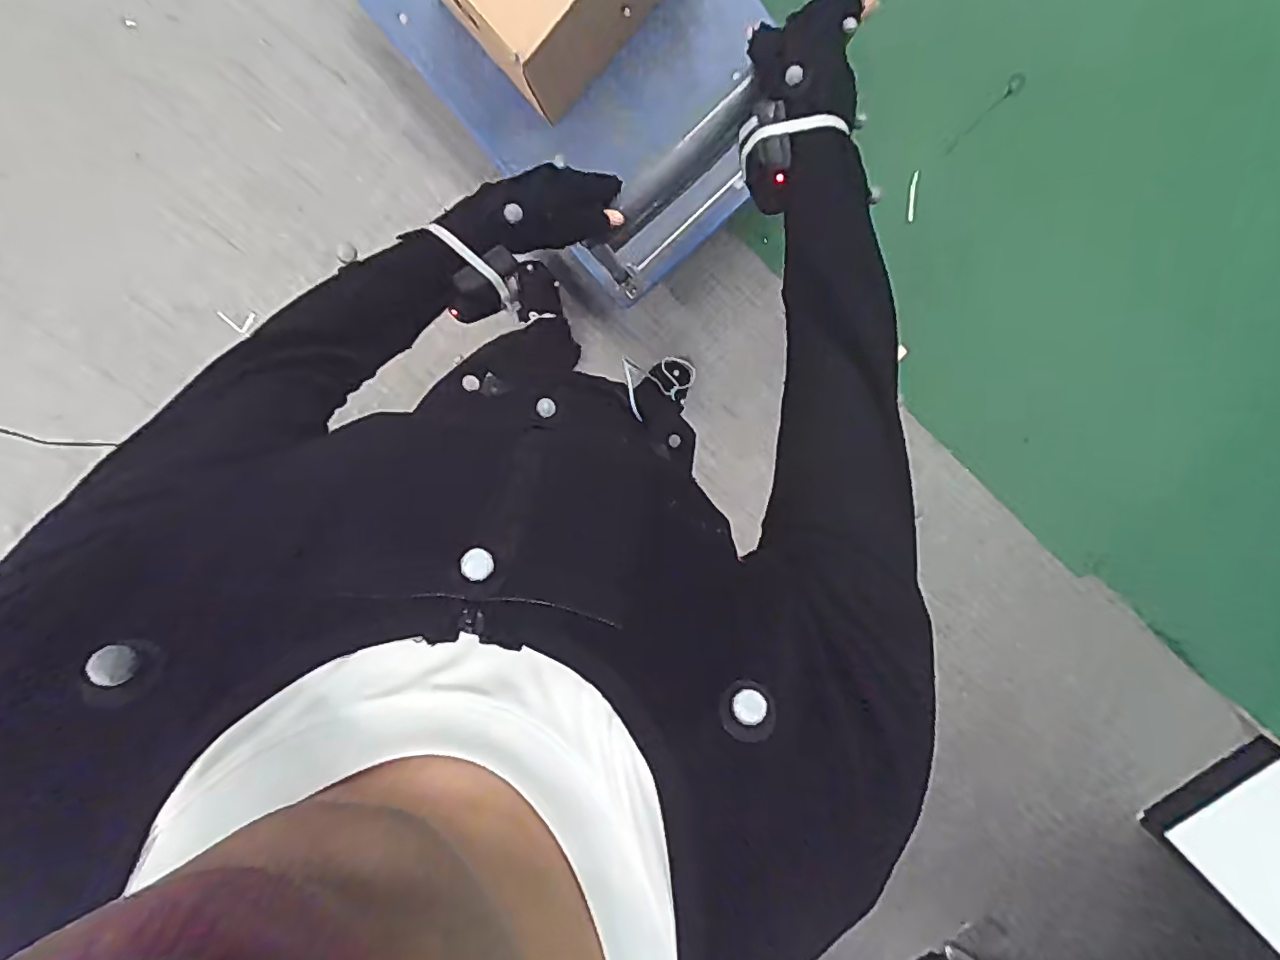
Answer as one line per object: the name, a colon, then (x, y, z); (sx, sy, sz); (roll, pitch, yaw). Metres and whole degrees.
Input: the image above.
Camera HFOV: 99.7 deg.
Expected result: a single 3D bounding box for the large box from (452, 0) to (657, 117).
large box: (-0.128, -0.910, 0.872); (0.408, 0.320, 0.320); (-43, 103, 14)
